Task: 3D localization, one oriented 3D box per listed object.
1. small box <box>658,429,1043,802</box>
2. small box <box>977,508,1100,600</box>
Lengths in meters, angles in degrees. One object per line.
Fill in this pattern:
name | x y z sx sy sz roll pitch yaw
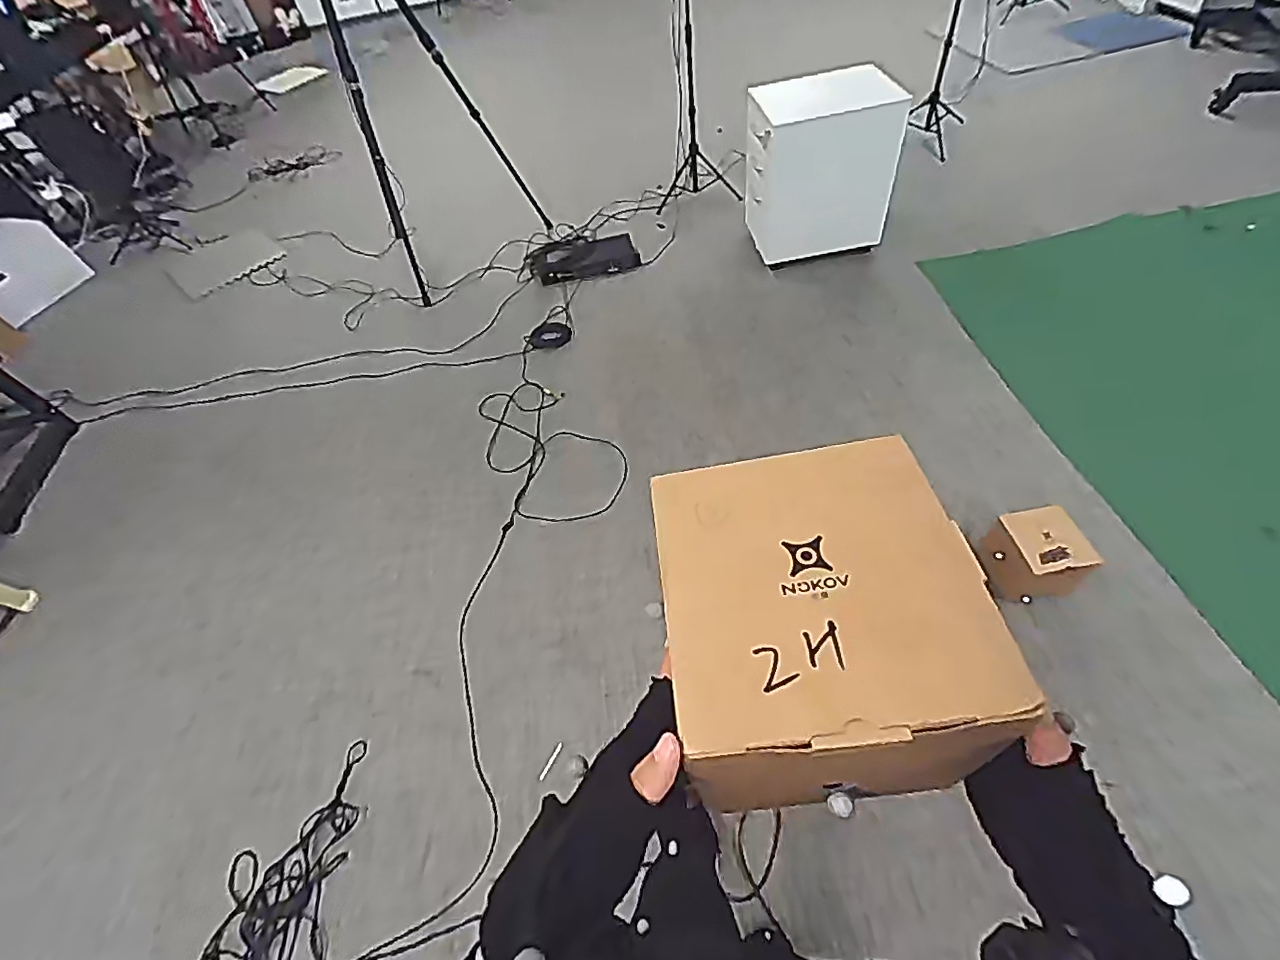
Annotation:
small box | 0.109 0.095 0.362 0.168 0.176 0.179 -10 50 6
small box | 1.029 0.201 1.415 0.168 0.176 0.179 -10 52 1
